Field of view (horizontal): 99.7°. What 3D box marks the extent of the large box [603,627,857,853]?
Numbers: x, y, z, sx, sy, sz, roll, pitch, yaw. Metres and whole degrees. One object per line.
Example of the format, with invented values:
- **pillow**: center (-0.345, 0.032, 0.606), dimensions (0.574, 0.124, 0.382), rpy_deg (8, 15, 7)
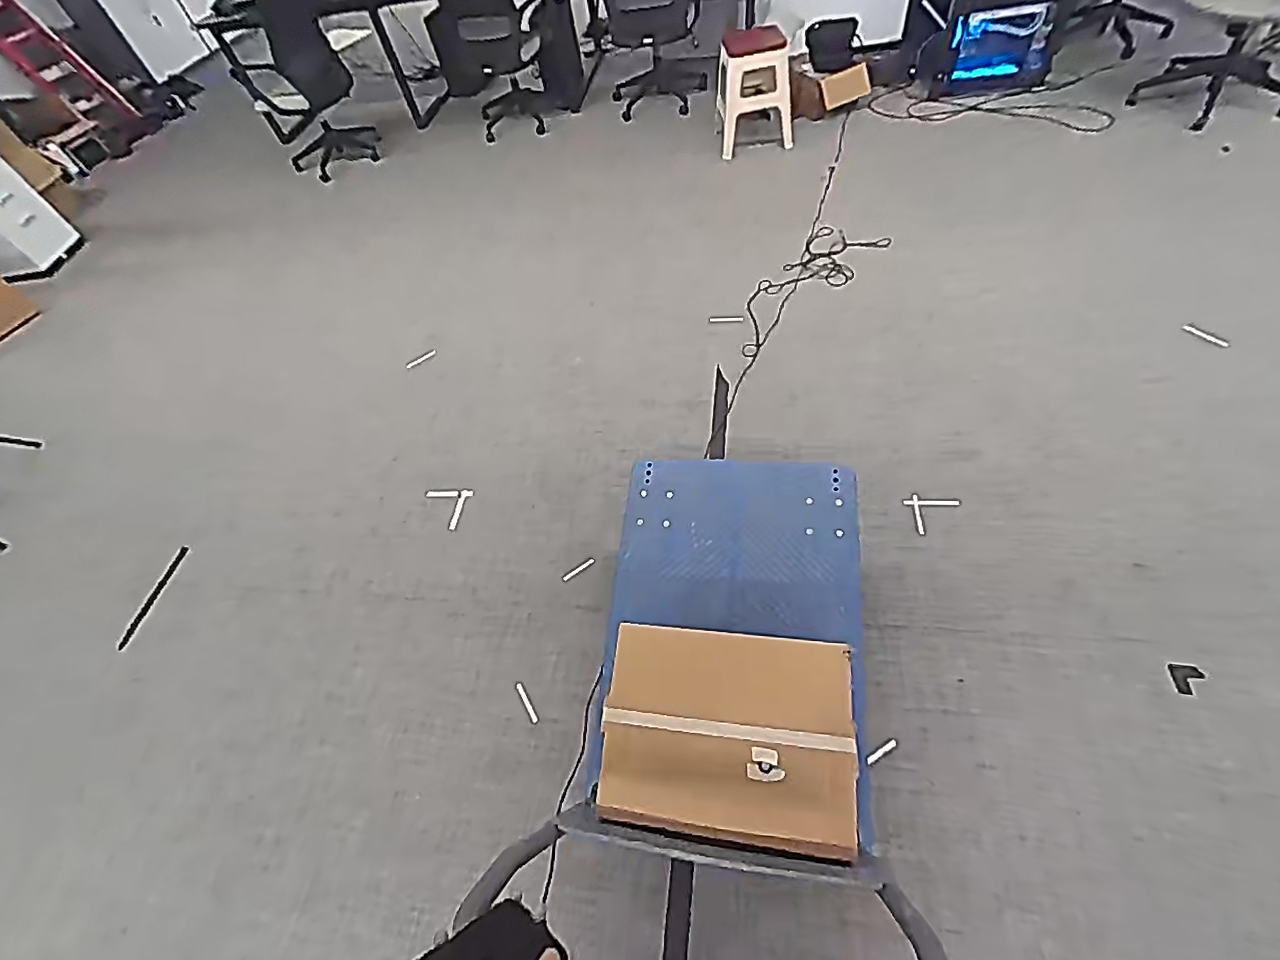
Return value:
- **large box**: center (0.169, 0.482, 1.041), dimensions (0.408, 0.320, 0.320), rpy_deg (2, 66, 11)
